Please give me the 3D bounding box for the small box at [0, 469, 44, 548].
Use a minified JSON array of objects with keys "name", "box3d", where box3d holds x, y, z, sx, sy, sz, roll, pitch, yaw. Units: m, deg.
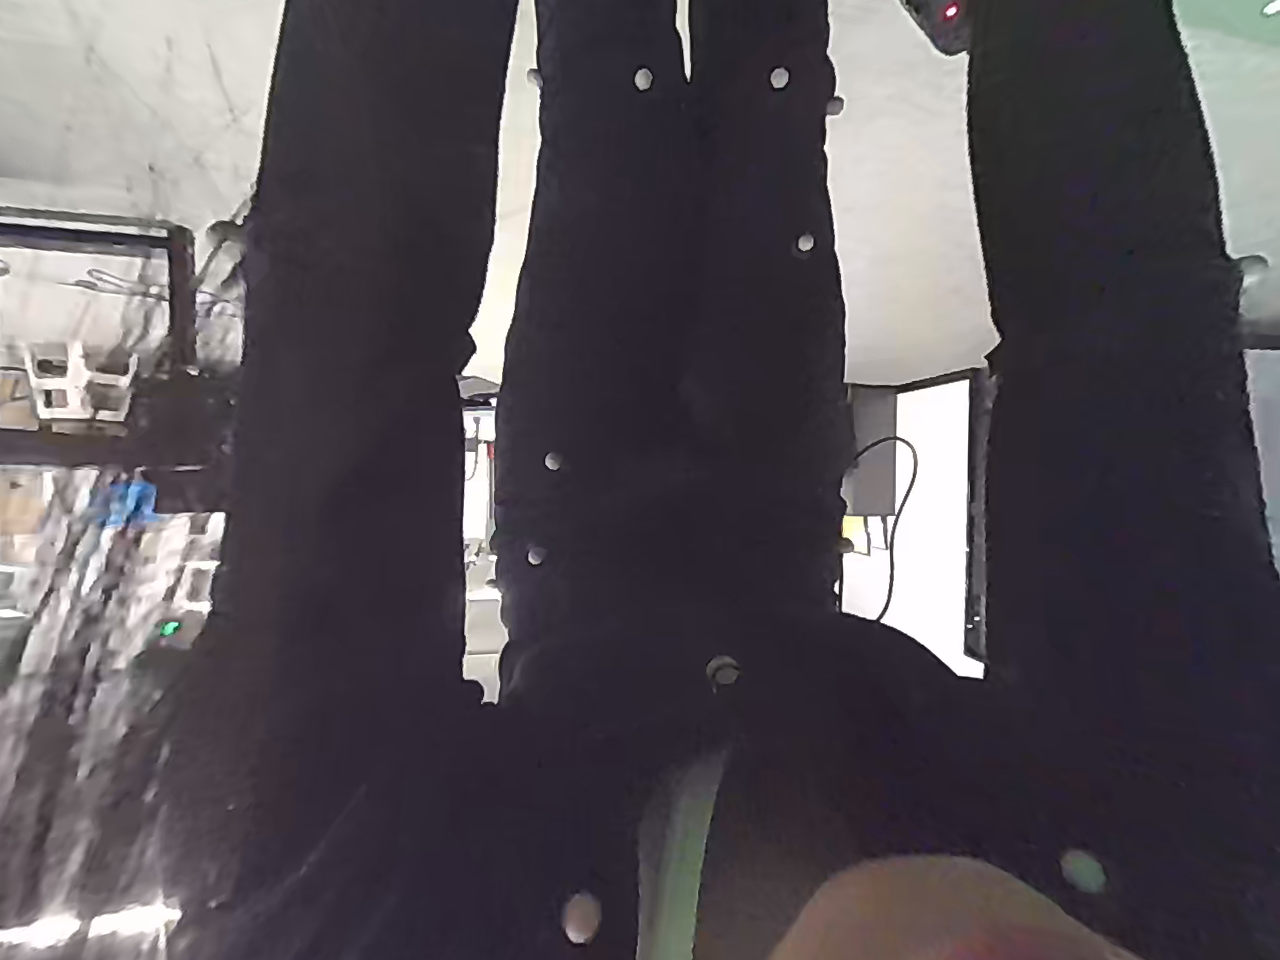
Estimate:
[{"name":"small box","box3d":[-1.446,0.060,1.161,0.179,0.176,0.168,1,180,-13]}]
